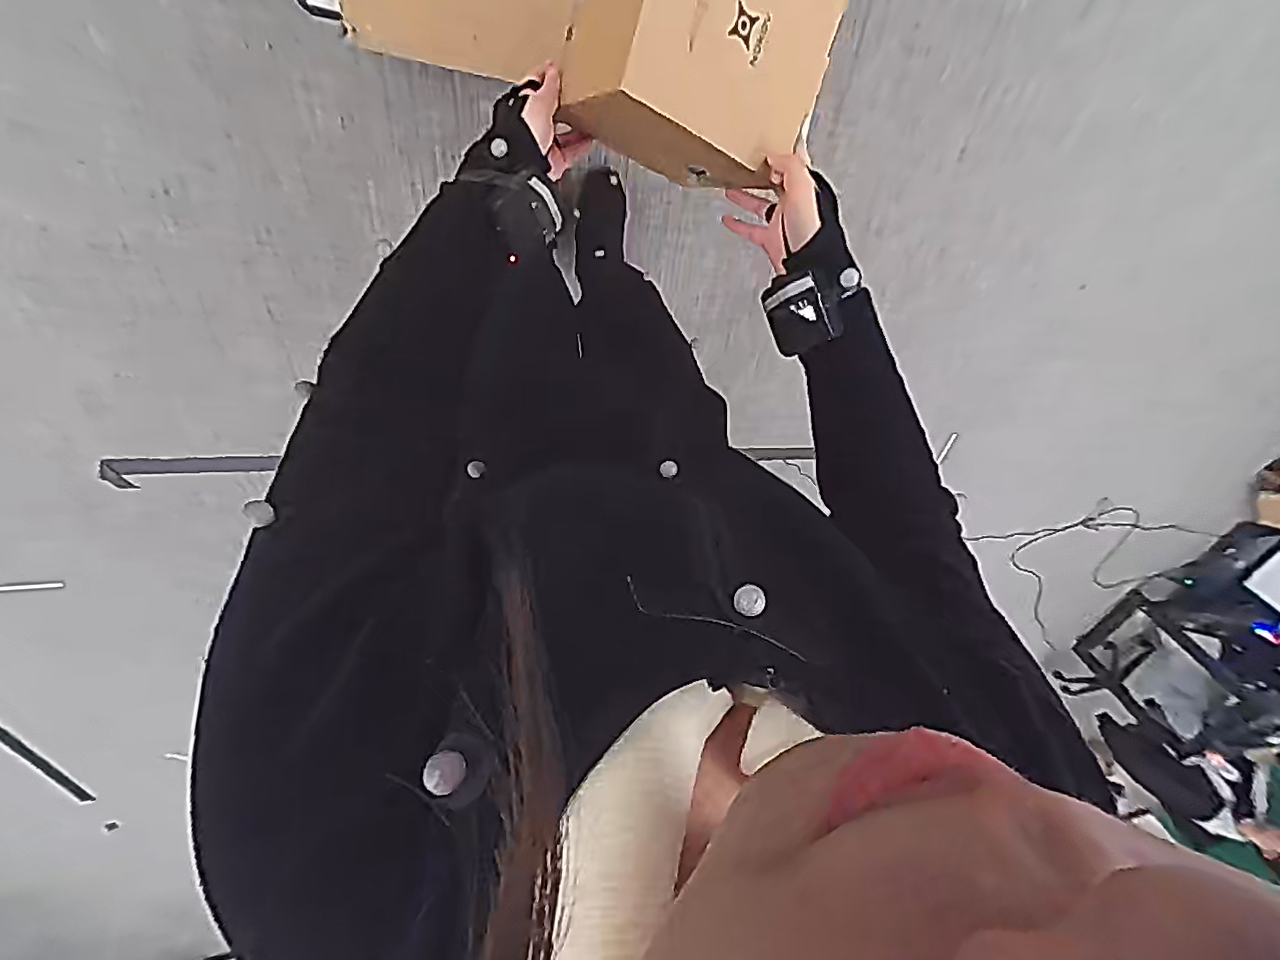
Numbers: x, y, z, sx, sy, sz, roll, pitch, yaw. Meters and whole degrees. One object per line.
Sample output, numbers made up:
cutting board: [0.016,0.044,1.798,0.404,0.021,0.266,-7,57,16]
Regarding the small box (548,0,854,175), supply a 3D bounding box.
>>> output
small box: [0.046,-0.383,0.459,0.179,0.176,0.168,7,111,-34]
